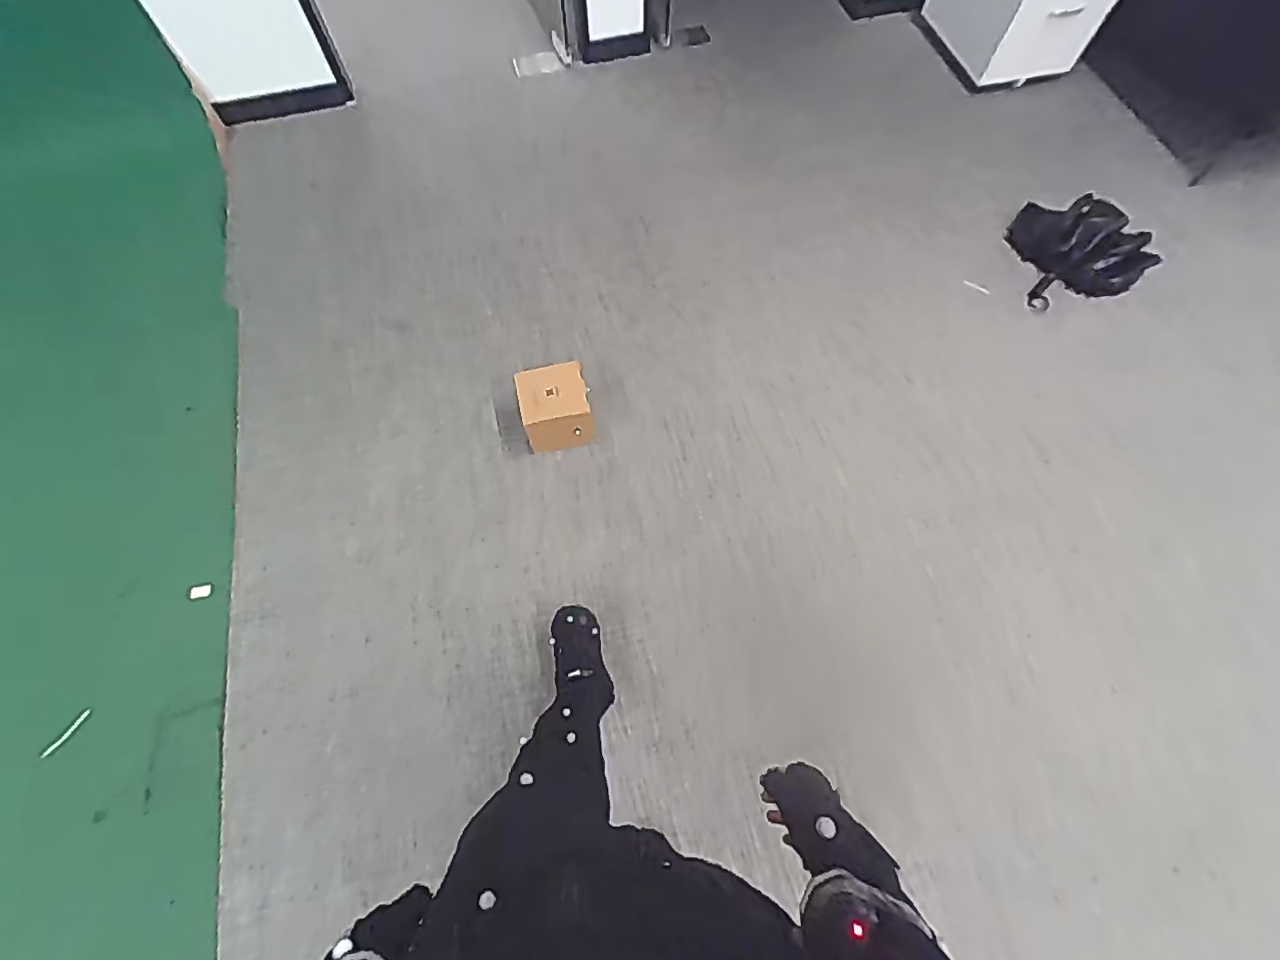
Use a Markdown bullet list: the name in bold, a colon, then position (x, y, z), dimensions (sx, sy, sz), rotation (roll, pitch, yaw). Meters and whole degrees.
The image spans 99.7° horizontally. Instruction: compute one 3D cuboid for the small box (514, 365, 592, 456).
- **small box**: position (-0.232, -0.185, 1.478), dimensions (0.179, 0.176, 0.168), rotation (-14, 66, -5)
